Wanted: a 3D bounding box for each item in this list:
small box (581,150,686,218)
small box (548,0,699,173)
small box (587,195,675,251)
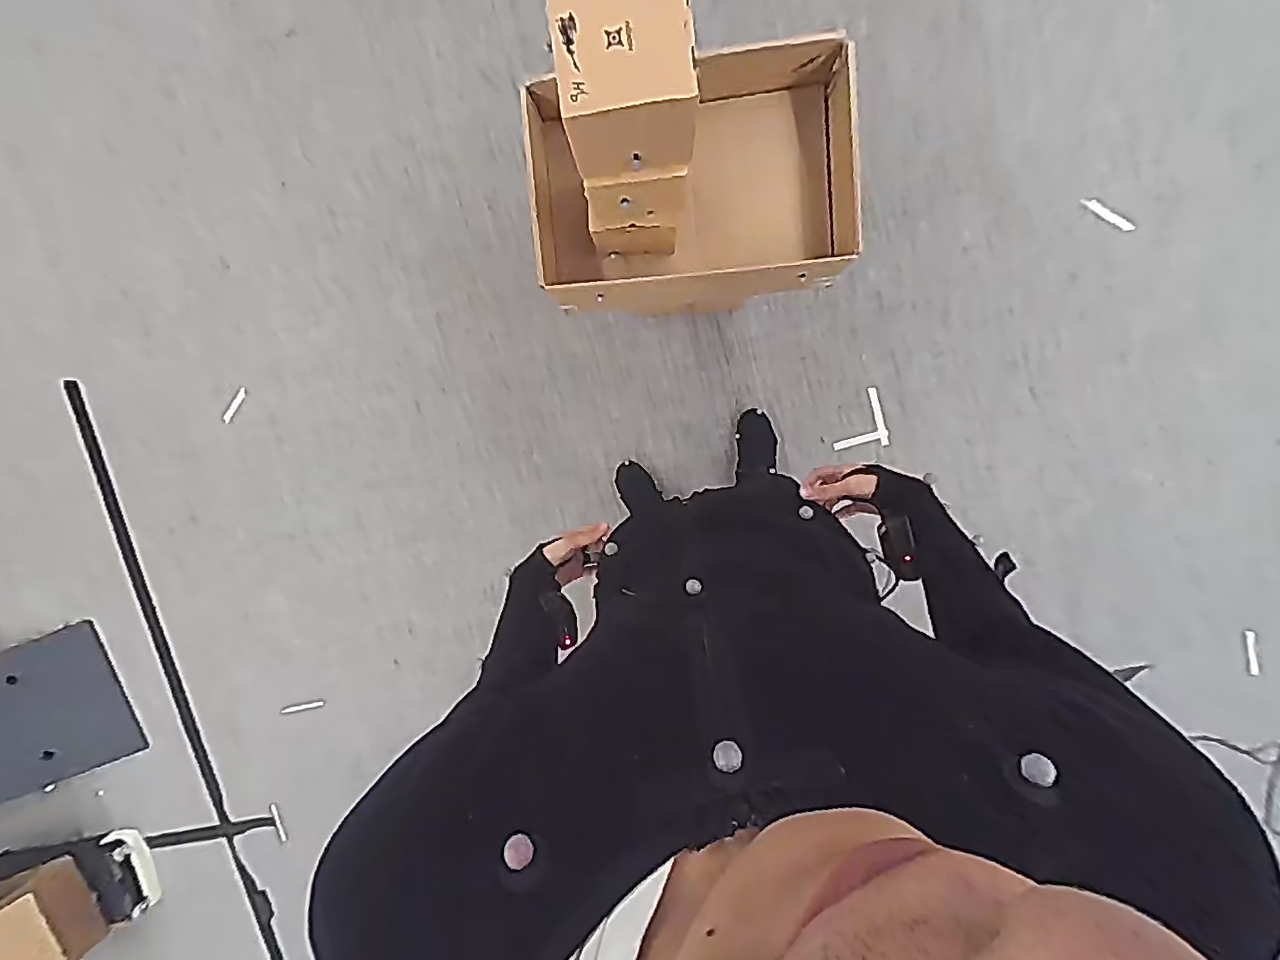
[{"bbox_3d":[-0.012,-0.559,0.908,0.168,0.176,0.179,-5,95,3],"label":"small box"},{"bbox_3d":[-0.020,-0.552,0.744,0.179,0.176,0.168,-6,94,3],"label":"small box"},{"bbox_3d":[-0.013,-0.564,1.071,0.168,0.176,0.179,-2,95,3],"label":"small box"}]
